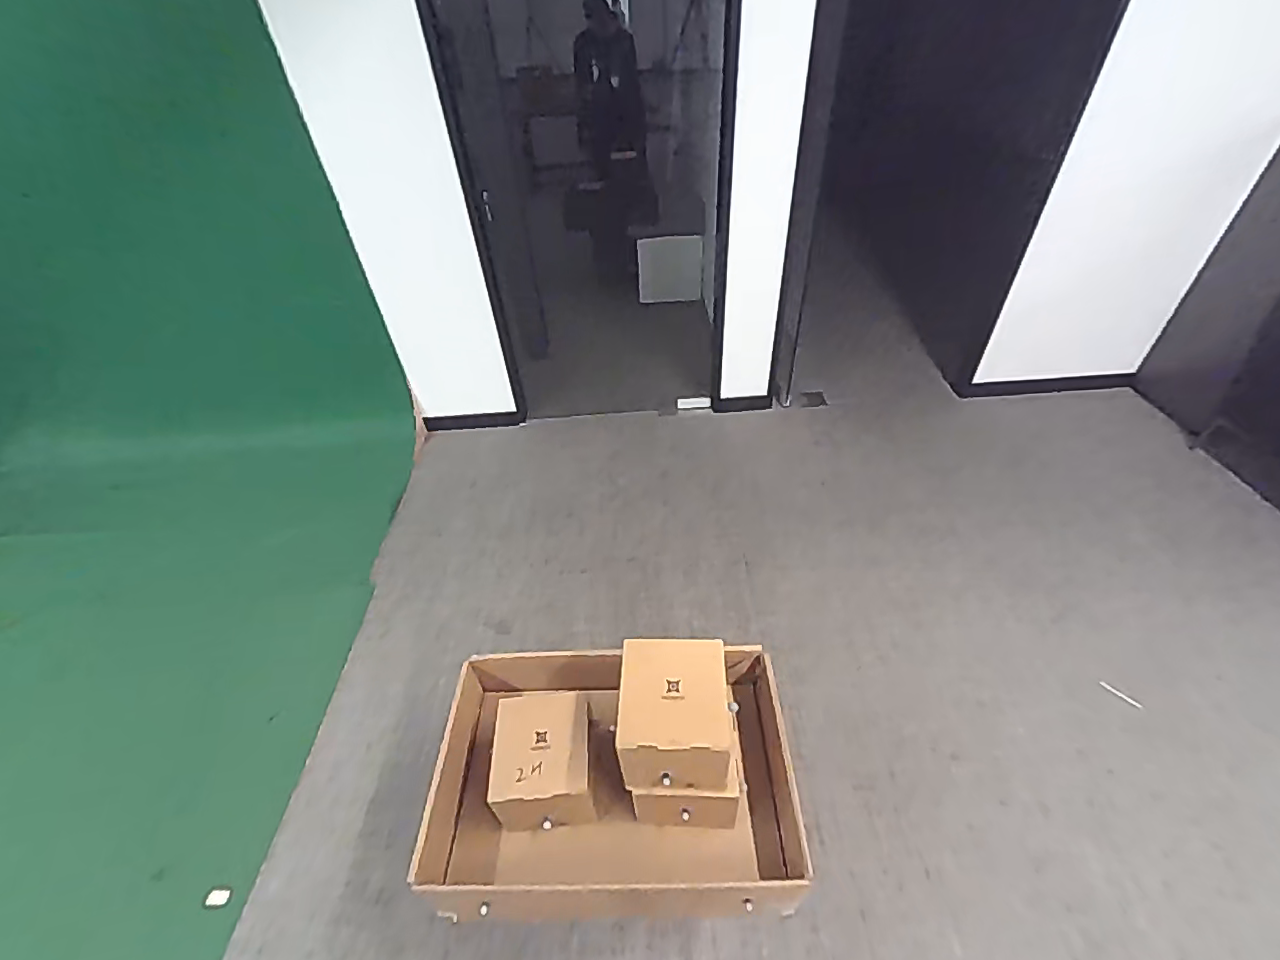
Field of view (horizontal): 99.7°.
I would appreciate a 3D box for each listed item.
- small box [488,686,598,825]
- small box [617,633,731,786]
[{"bbox_3d":[-0.168,0.503,0.991,0.168,0.176,0.179,-4,42,-1],"label":"small box"},{"bbox_3d":[0.056,0.371,0.880,0.168,0.176,0.179,-1,42,4],"label":"small box"}]
